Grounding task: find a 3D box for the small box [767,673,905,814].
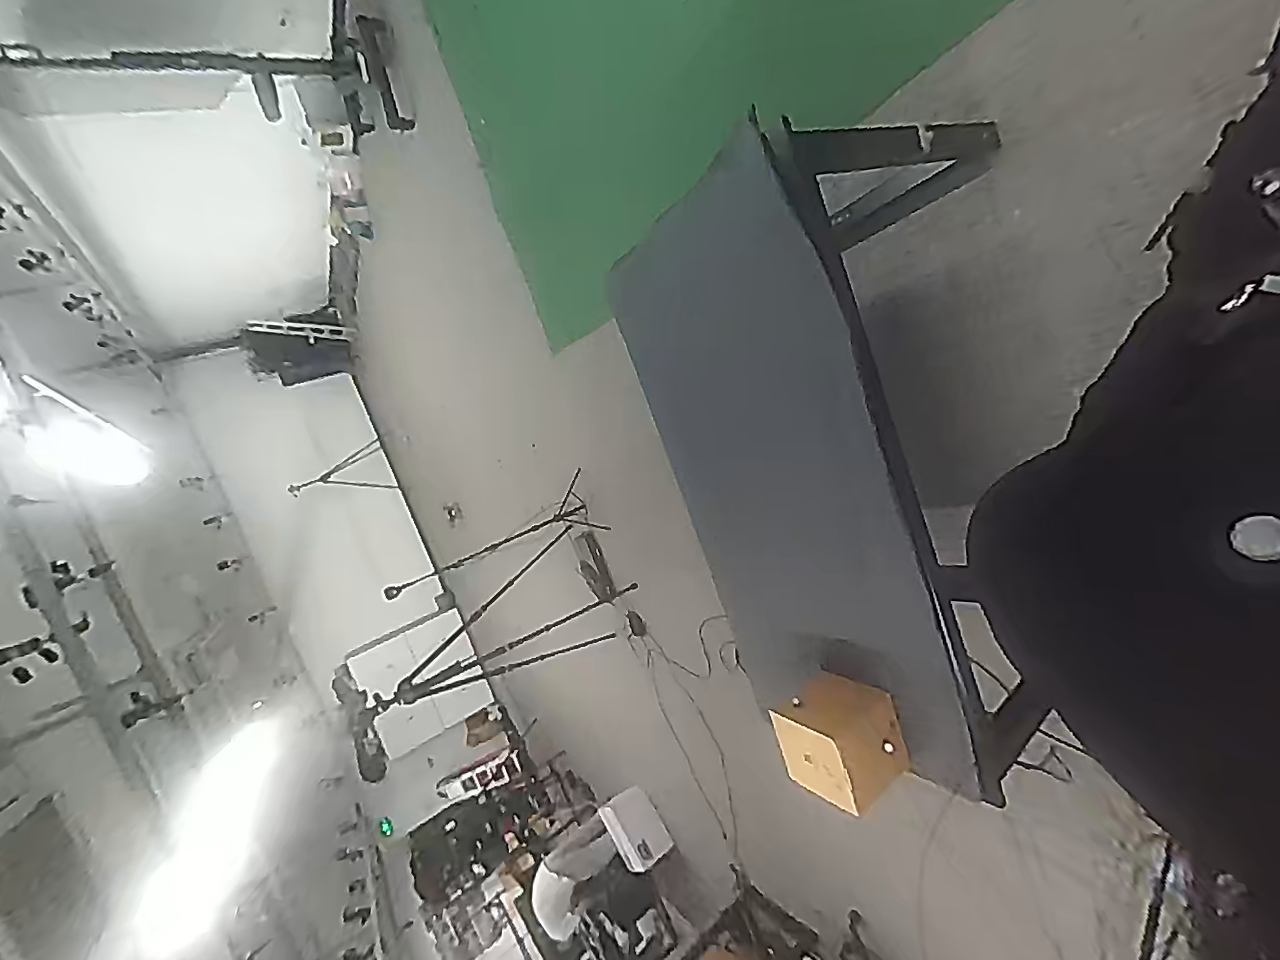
[{"bbox_3d":[0.394,0.515,1.090,0.179,0.176,0.168,-6,105,60],"label":"small box"}]
